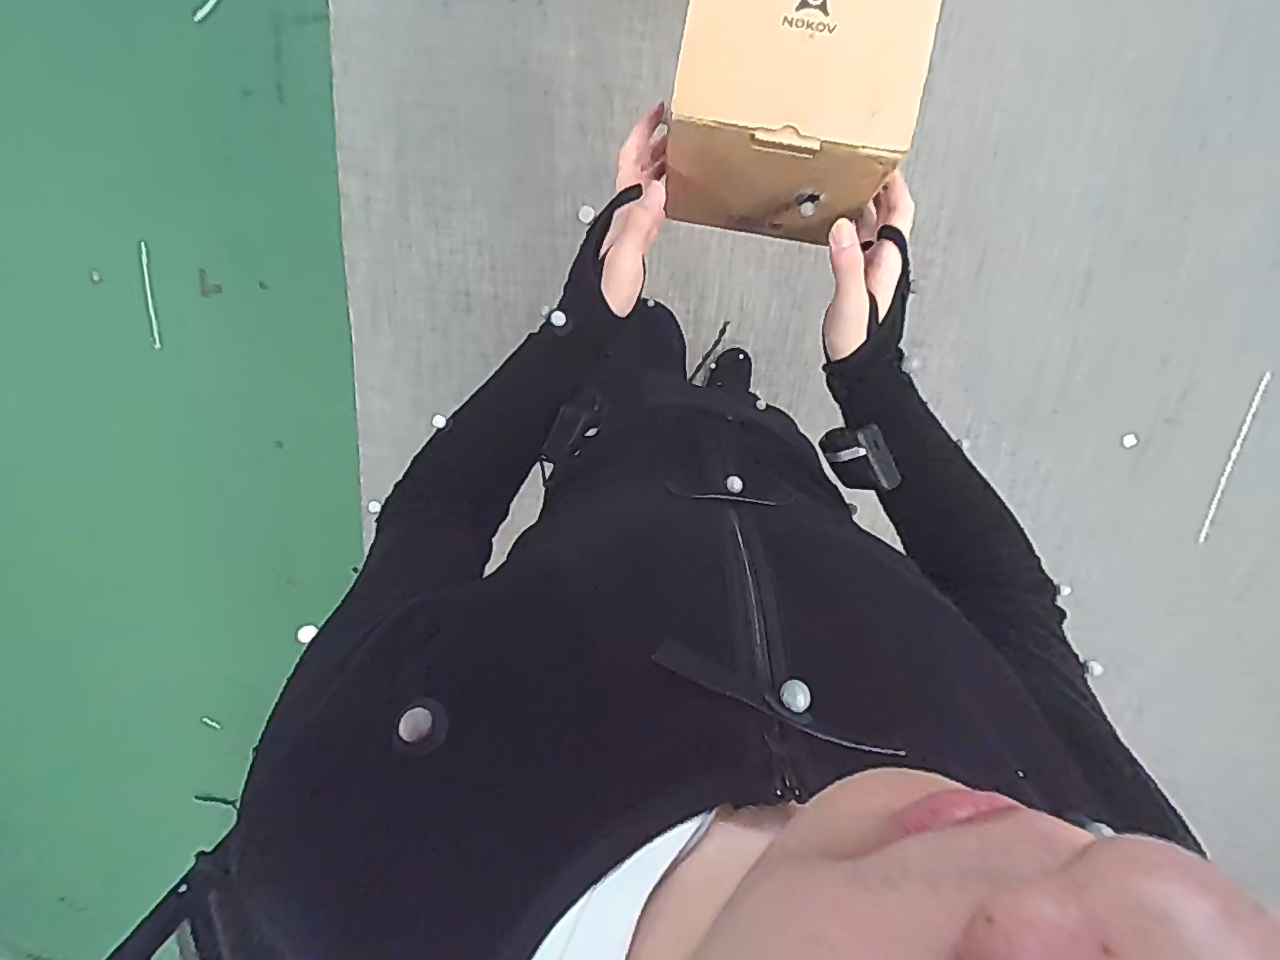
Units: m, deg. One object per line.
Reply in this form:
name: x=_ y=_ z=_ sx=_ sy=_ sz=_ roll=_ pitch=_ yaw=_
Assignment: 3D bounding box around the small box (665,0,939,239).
small box: x=0.117 y=-0.321 z=0.438 sx=0.168 sy=0.176 sz=0.179 roll=11 pitch=93 yaw=1
